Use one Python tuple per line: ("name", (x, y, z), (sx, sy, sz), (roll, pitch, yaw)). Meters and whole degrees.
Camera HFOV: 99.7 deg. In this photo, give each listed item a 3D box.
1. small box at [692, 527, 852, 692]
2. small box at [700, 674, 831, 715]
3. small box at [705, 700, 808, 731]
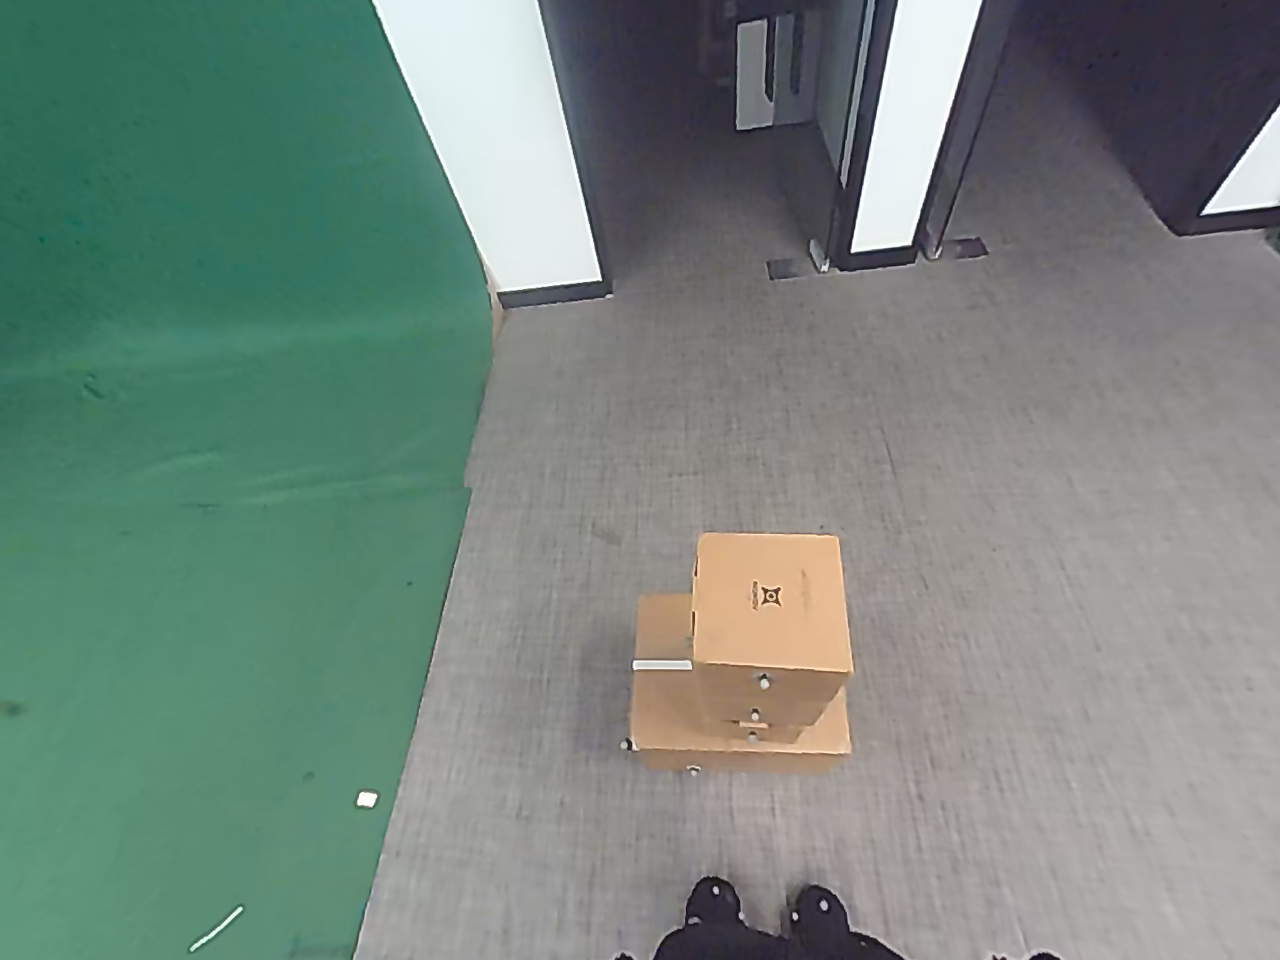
("small box", (0.163, 0.172, 0.703), (0.179, 0.176, 0.168), (-1, 58, 10))
("small box", (0.188, 0.260, 0.836), (0.179, 0.176, 0.168), (-1, 57, 11))
("small box", (0.208, 0.347, 0.975), (0.168, 0.176, 0.179), (-1, 58, 11))
